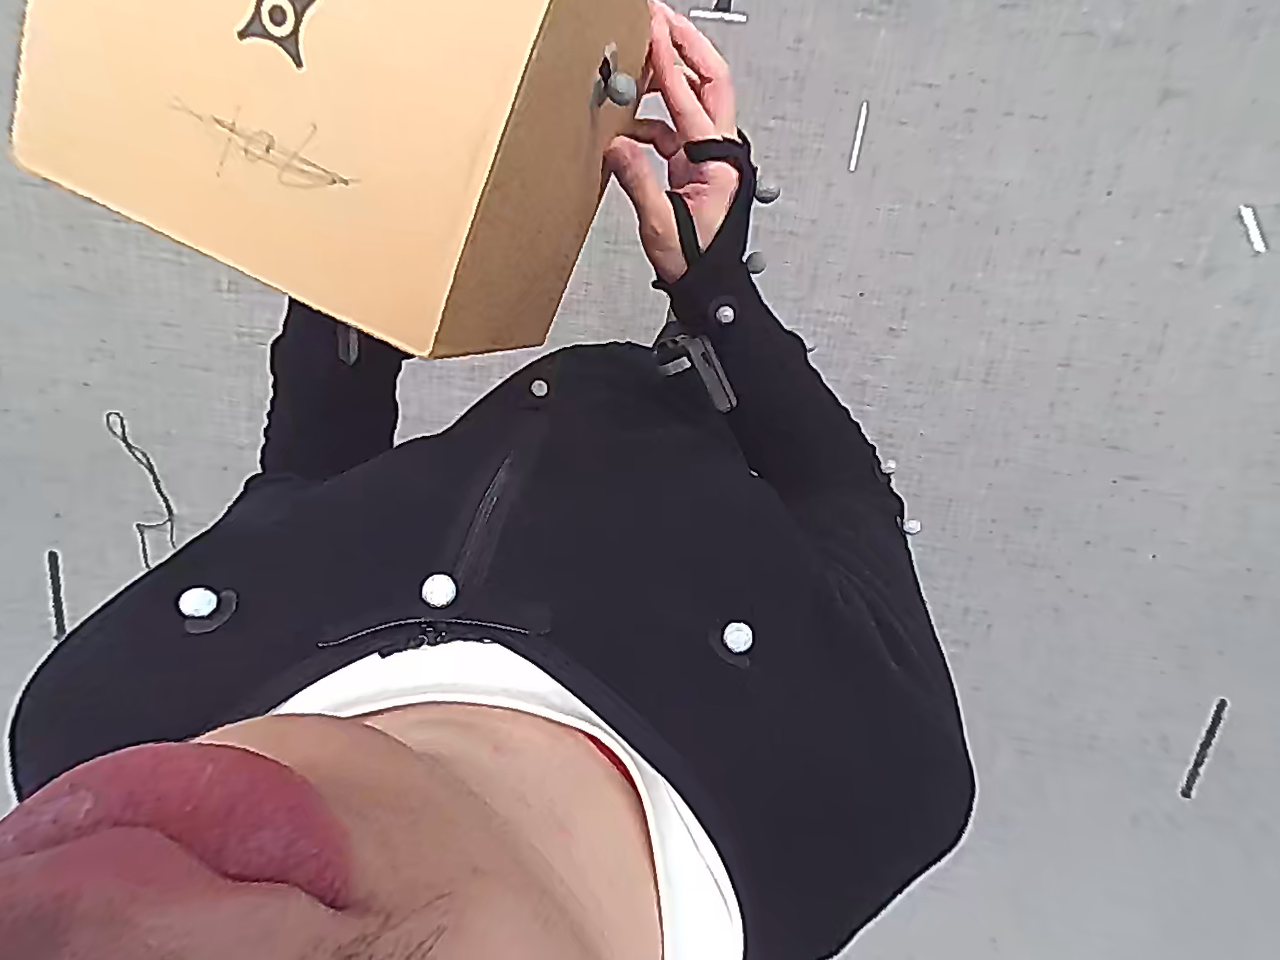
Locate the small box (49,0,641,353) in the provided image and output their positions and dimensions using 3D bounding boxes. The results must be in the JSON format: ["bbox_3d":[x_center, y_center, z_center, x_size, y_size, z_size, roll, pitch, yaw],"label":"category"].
[{"bbox_3d":[-0.107,-0.179,0.263,0.168,0.176,0.179,26,106,-1],"label":"small box"}]
